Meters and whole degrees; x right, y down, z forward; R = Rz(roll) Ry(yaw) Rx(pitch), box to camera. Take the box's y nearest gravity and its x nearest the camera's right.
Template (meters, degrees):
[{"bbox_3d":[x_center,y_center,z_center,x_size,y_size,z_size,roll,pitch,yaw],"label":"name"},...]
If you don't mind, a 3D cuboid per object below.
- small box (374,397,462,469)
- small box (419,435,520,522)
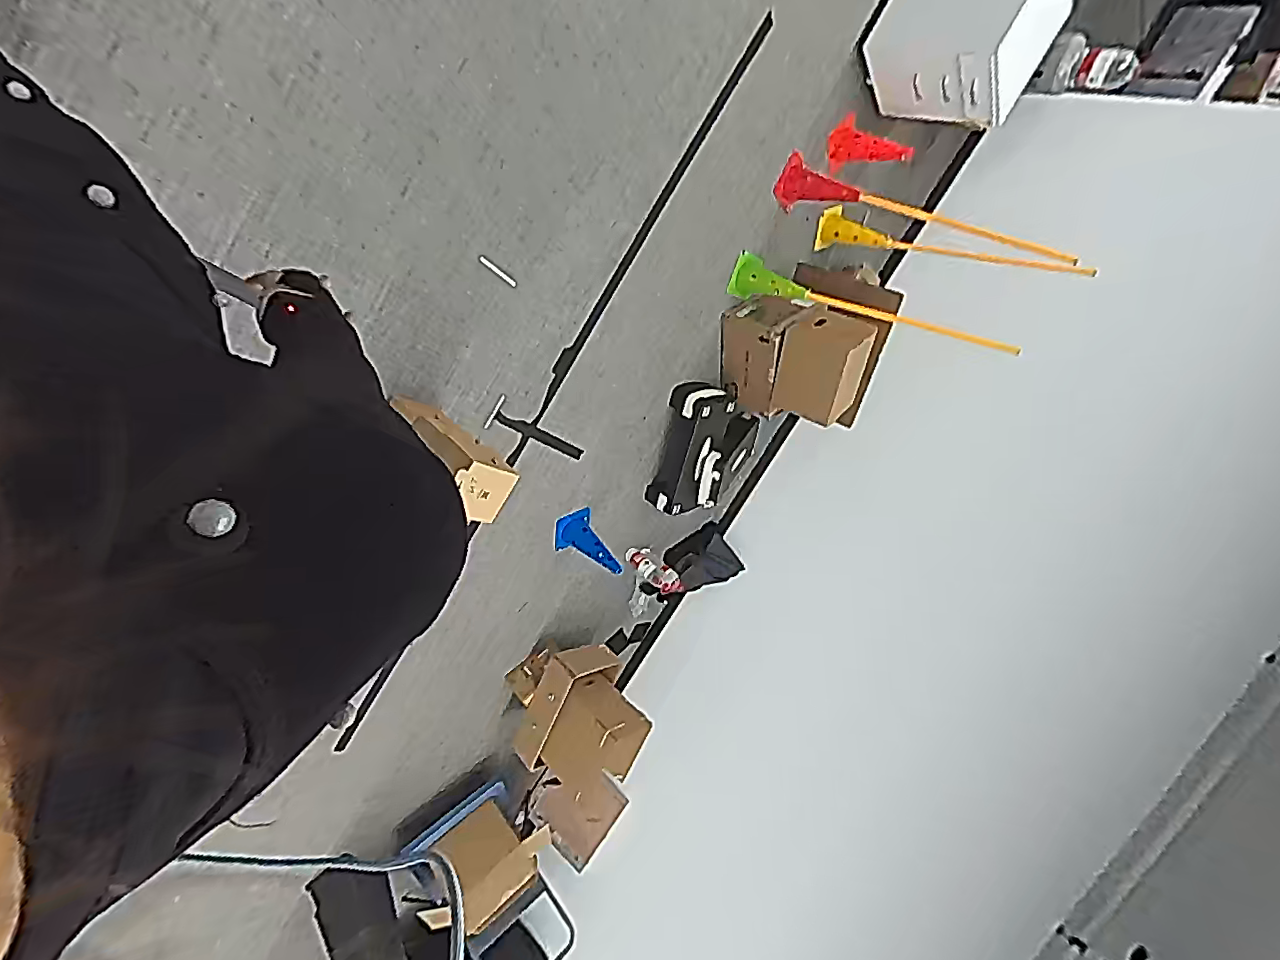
[{"bbox_3d":[-0.708,-0.146,1.713,0.179,0.176,0.168,18,105,-55],"label":"small box"},{"bbox_3d":[-0.480,-0.006,1.517,0.168,0.176,0.179,-58,145,6],"label":"small box"}]
